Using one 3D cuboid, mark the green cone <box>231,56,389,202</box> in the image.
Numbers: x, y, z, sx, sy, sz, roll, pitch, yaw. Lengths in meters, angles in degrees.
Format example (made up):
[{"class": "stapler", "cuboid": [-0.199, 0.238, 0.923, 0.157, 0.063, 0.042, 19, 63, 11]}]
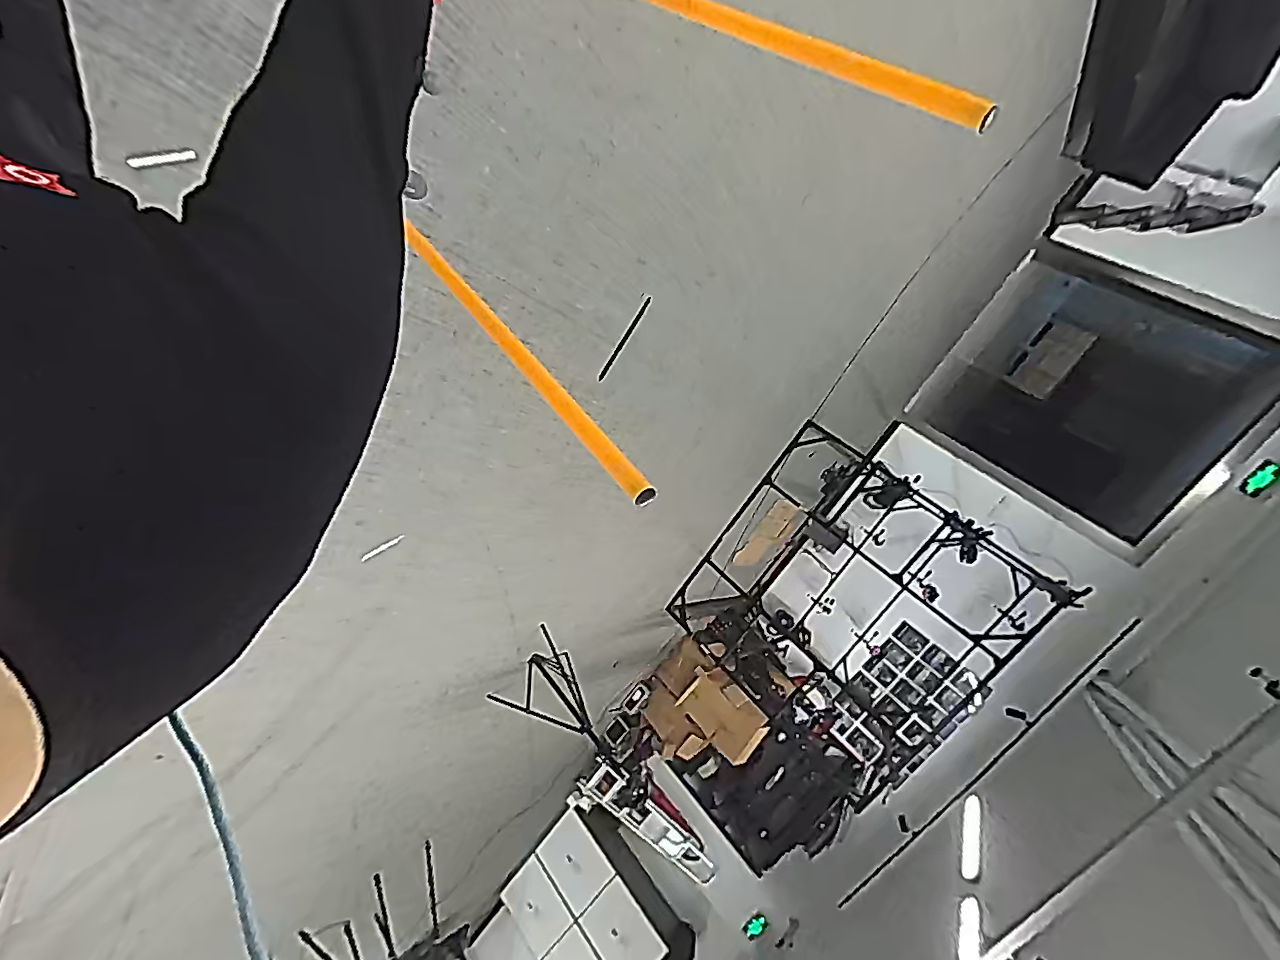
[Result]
[{"class": "green cone", "cuboid": [-0.598, -0.628, 1.056, 0.200, 0.368, 0.202, -53, 153, 10]}]
